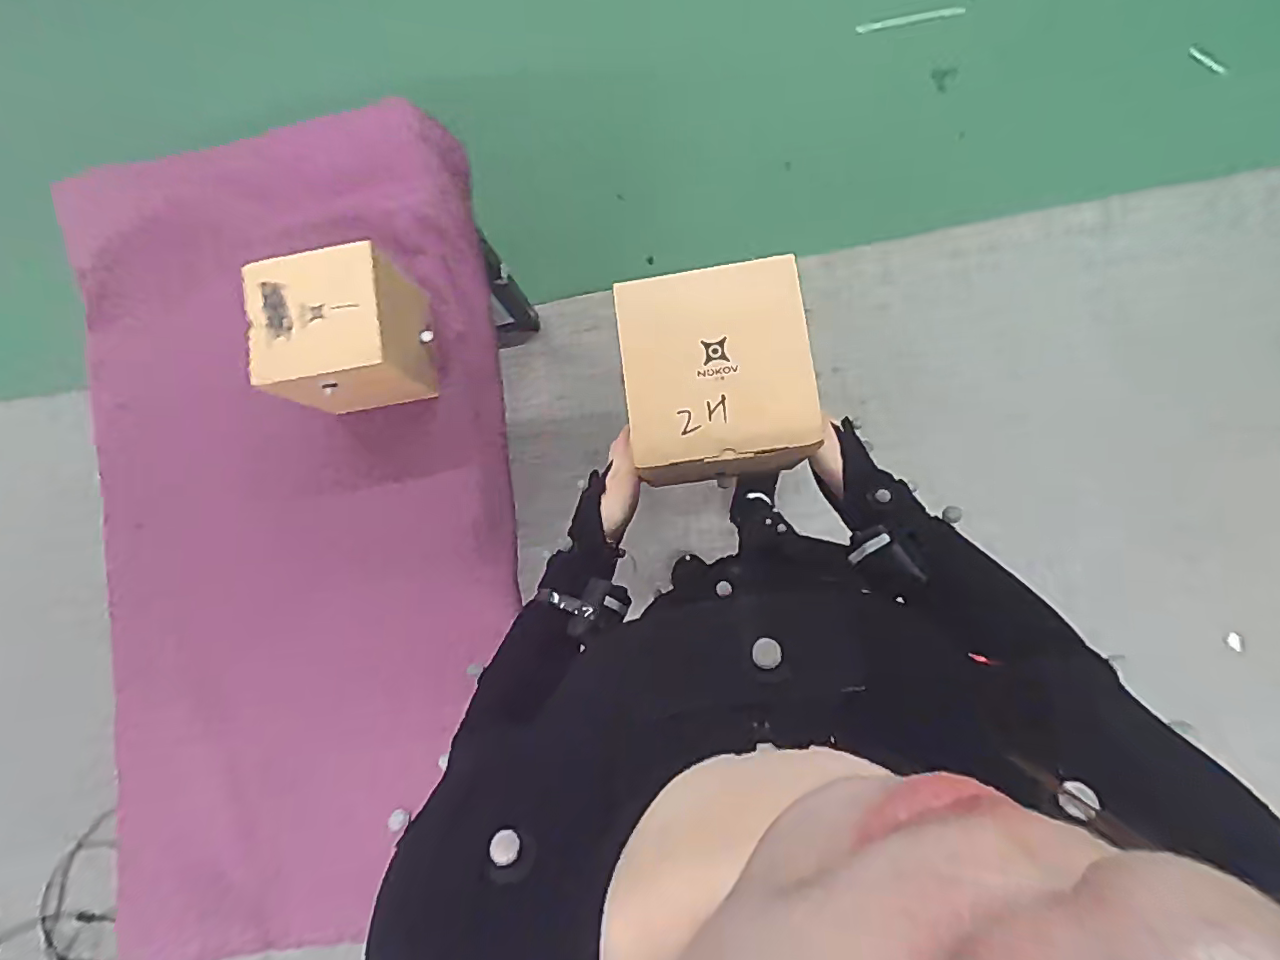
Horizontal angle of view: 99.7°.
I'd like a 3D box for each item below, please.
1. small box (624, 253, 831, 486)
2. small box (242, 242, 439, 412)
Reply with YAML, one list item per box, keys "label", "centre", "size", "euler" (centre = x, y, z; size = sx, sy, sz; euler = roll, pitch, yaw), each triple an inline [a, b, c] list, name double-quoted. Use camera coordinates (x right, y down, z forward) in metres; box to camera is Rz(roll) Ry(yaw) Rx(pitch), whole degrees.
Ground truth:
- label: "small box"
  centre: [0.080, -0.097, 0.549]
  size: [0.168, 0.176, 0.179]
  euler: [-7, 83, 6]
- label: "small box"
  centre: [-0.410, -0.201, 0.761]
  size: [0.179, 0.176, 0.168]
  euler: [-10, 84, 3]
